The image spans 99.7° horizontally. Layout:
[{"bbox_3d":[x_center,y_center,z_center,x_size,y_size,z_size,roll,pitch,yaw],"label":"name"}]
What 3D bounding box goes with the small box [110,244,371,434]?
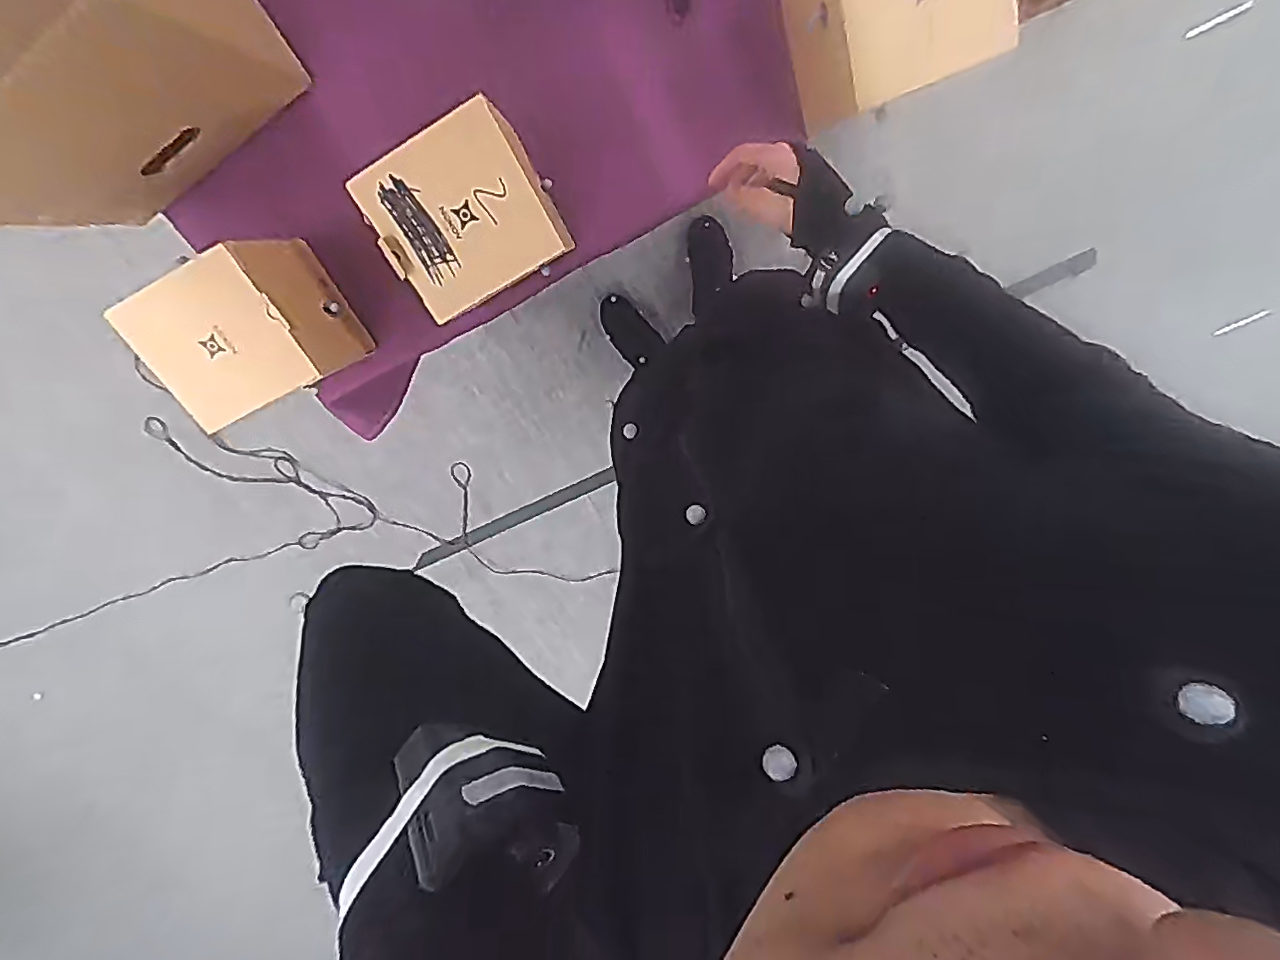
[{"bbox_3d":[-0.496,-0.187,0.704,0.179,0.176,0.168,-25,113,8],"label":"small box"}]
